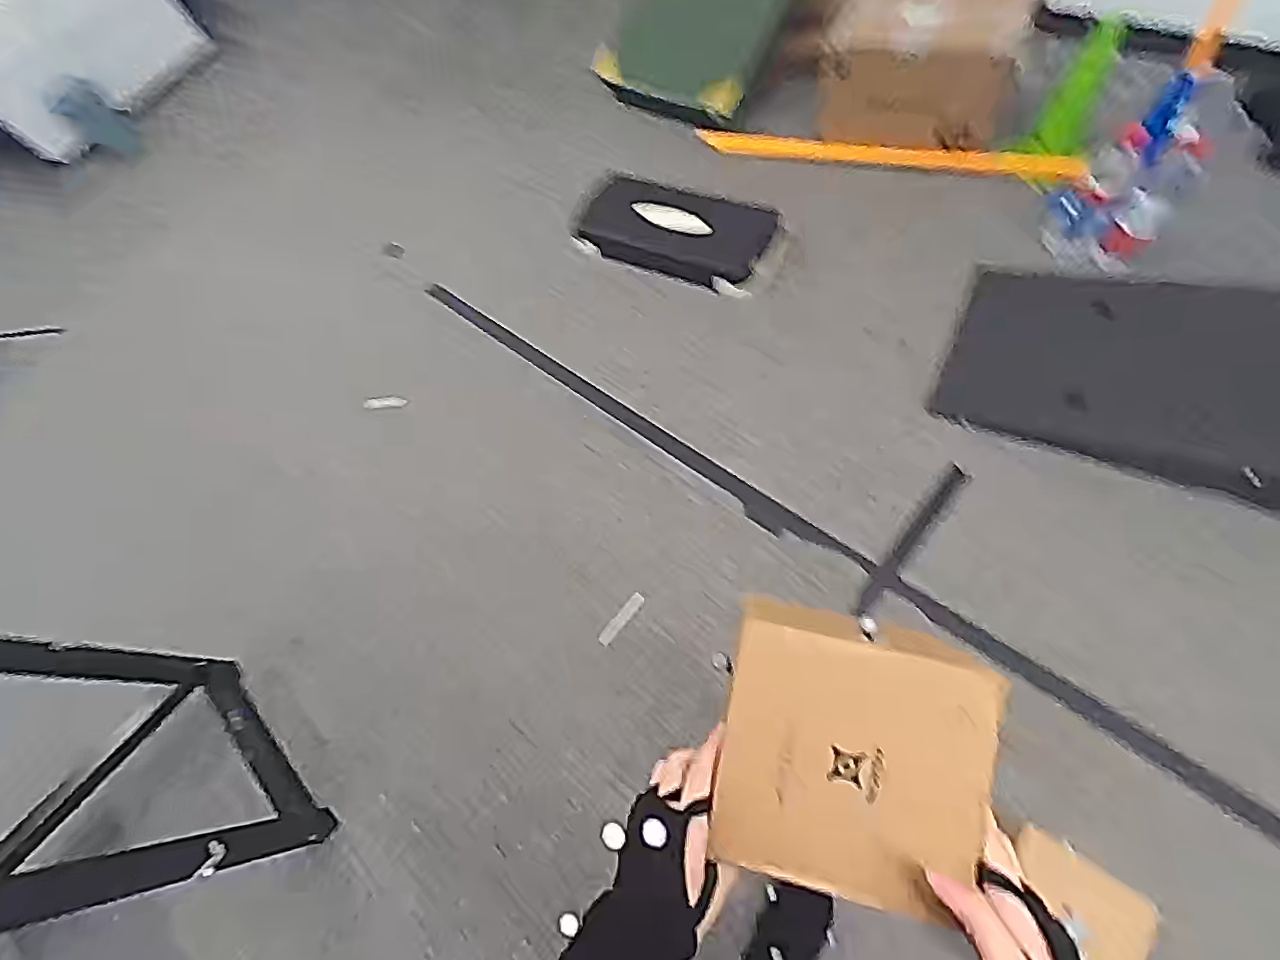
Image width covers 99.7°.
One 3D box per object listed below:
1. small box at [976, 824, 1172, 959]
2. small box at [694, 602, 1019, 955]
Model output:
[{"bbox_3d":[0.592,0.639,0.782,0.168,0.176,0.179,30,76,23],"label":"small box"},{"bbox_3d":[0.149,0.200,0.424,0.179,0.176,0.168,12,86,11],"label":"small box"}]
